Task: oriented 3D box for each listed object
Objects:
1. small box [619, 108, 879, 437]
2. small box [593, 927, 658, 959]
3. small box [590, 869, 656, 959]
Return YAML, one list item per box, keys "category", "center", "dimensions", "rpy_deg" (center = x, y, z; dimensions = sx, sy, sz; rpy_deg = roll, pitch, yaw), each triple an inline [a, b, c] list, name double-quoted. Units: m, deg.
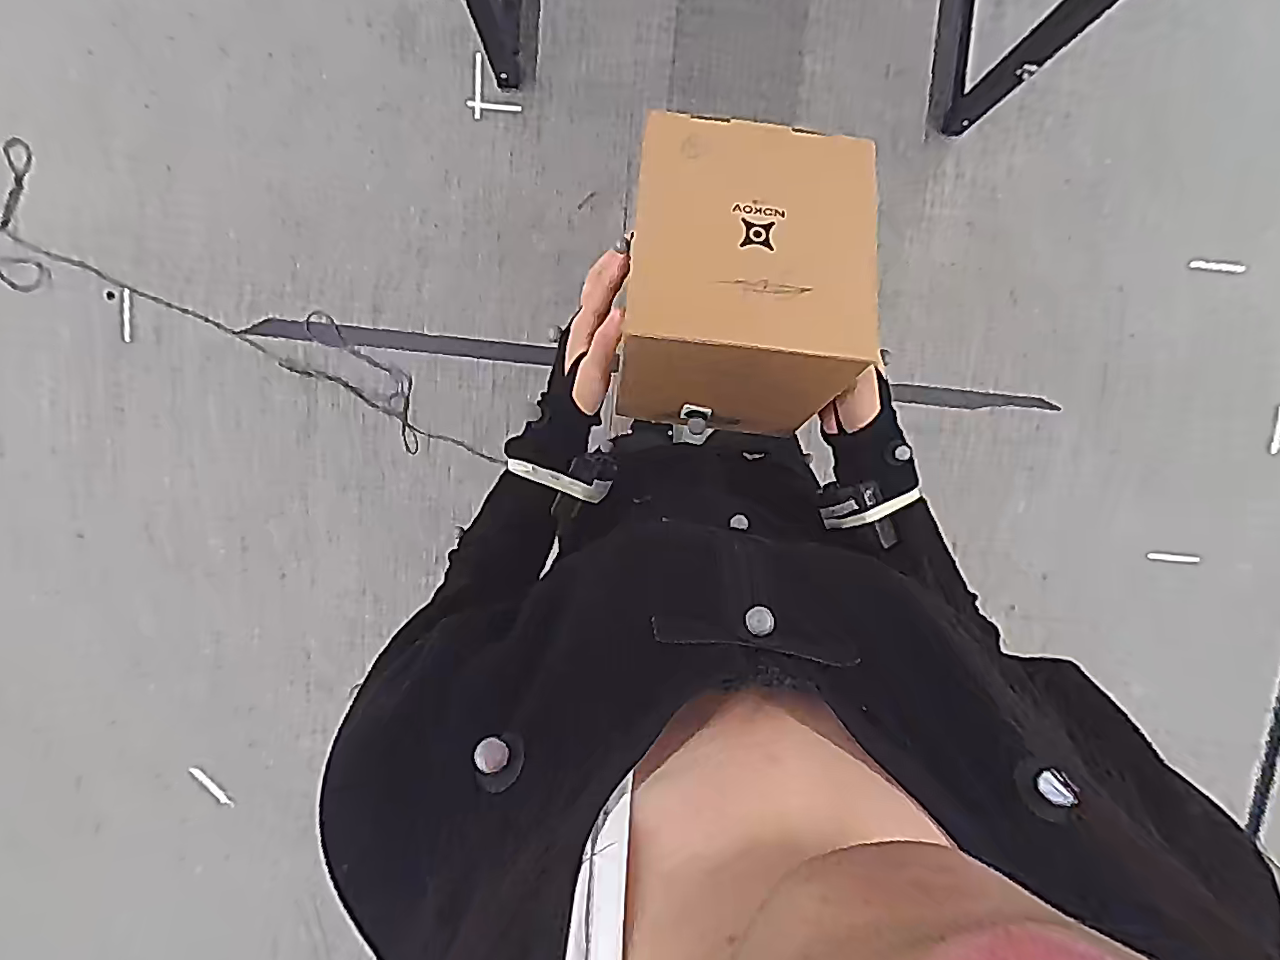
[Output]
- category: "small box"
  center: [0.073, -0.149, 0.439]
  dimensions: [0.168, 0.176, 0.179]
  rpy_deg: [6, 77, -2]
- category: "small box"
  center: [-0.041, 1.305, 1.397]
  dimensions: [0.168, 0.176, 0.179]
  rpy_deg: [4, 98, -2]
- category: "small box"
  center: [-0.049, 1.275, 1.558]
  dimensions: [0.168, 0.176, 0.179]
  rpy_deg: [7, 96, -3]
